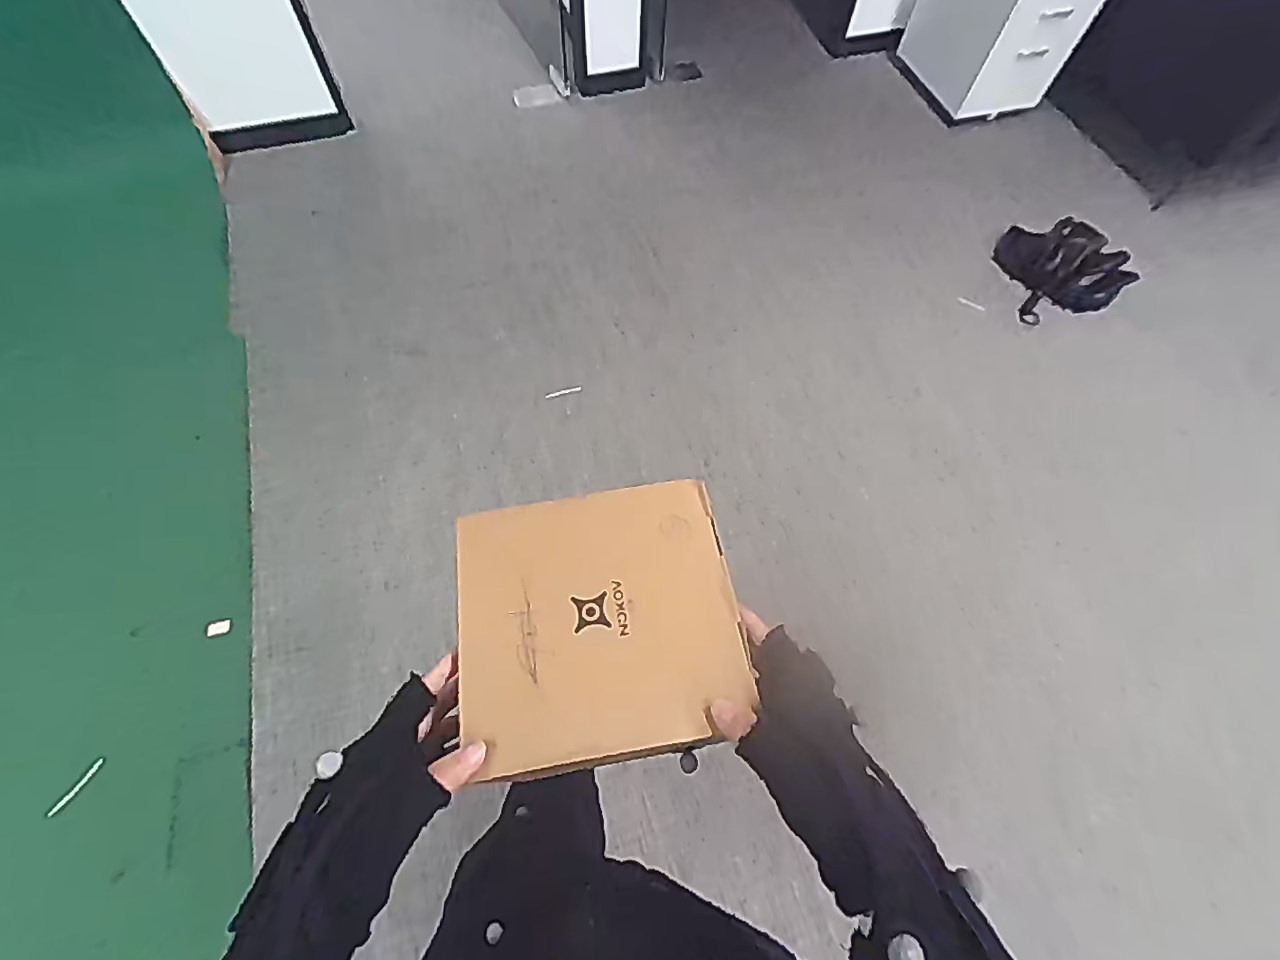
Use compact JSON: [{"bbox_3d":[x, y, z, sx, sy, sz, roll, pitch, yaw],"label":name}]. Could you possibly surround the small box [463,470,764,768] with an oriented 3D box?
[{"bbox_3d":[-0.023,0.115,0.417,0.179,0.176,0.168,-10,61,-3],"label":"small box"}]
